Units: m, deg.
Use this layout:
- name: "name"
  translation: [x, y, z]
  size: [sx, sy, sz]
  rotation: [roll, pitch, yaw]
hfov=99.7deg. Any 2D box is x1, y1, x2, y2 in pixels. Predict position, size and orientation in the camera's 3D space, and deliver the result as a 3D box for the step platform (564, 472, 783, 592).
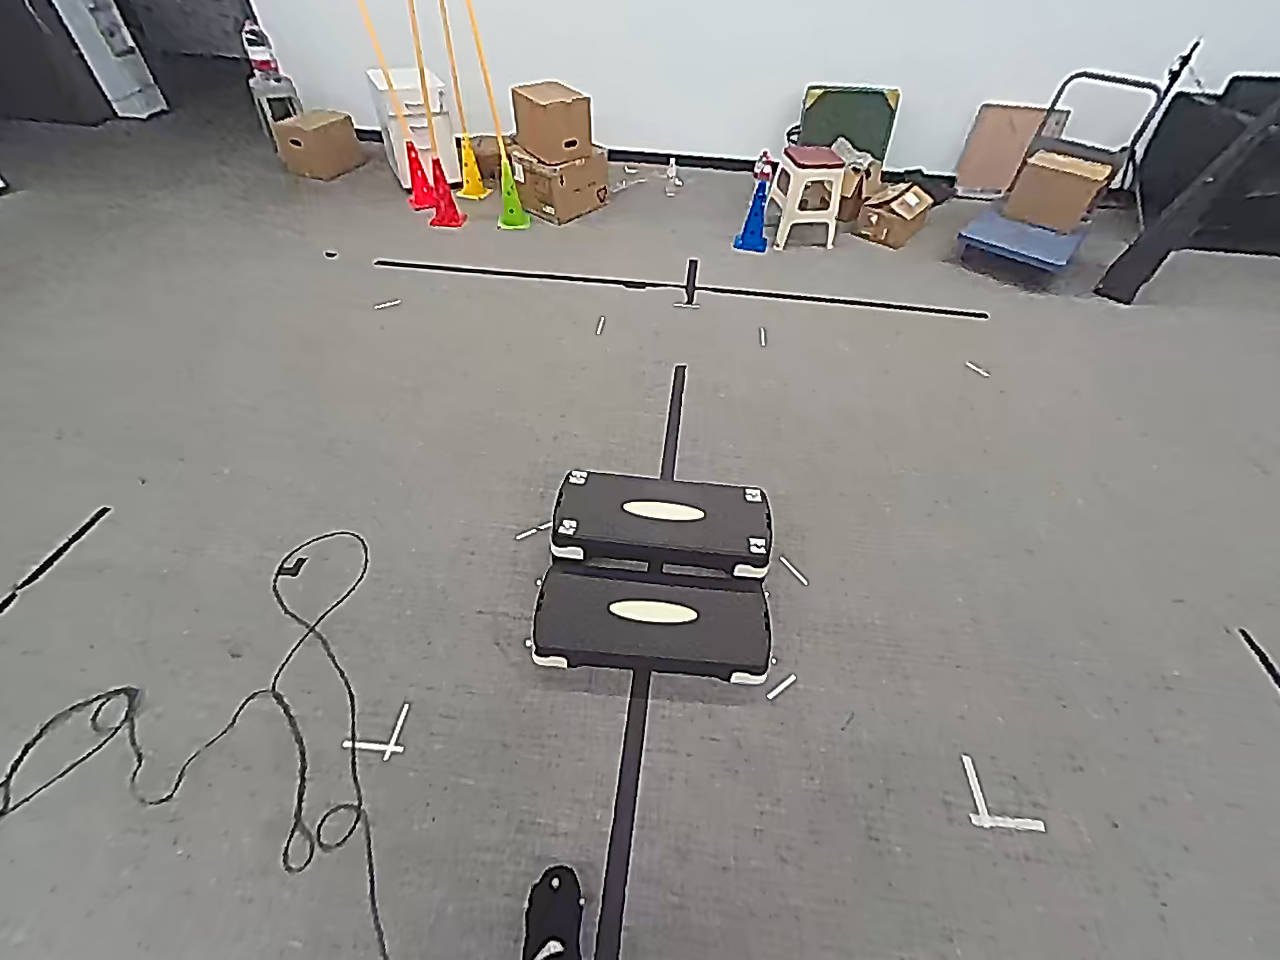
- name: "step platform"
  translation: [0.104, 0.160, 1.730]
  size: [0.684, 0.204, 0.286]
  rotation: [6, 48, 1]
